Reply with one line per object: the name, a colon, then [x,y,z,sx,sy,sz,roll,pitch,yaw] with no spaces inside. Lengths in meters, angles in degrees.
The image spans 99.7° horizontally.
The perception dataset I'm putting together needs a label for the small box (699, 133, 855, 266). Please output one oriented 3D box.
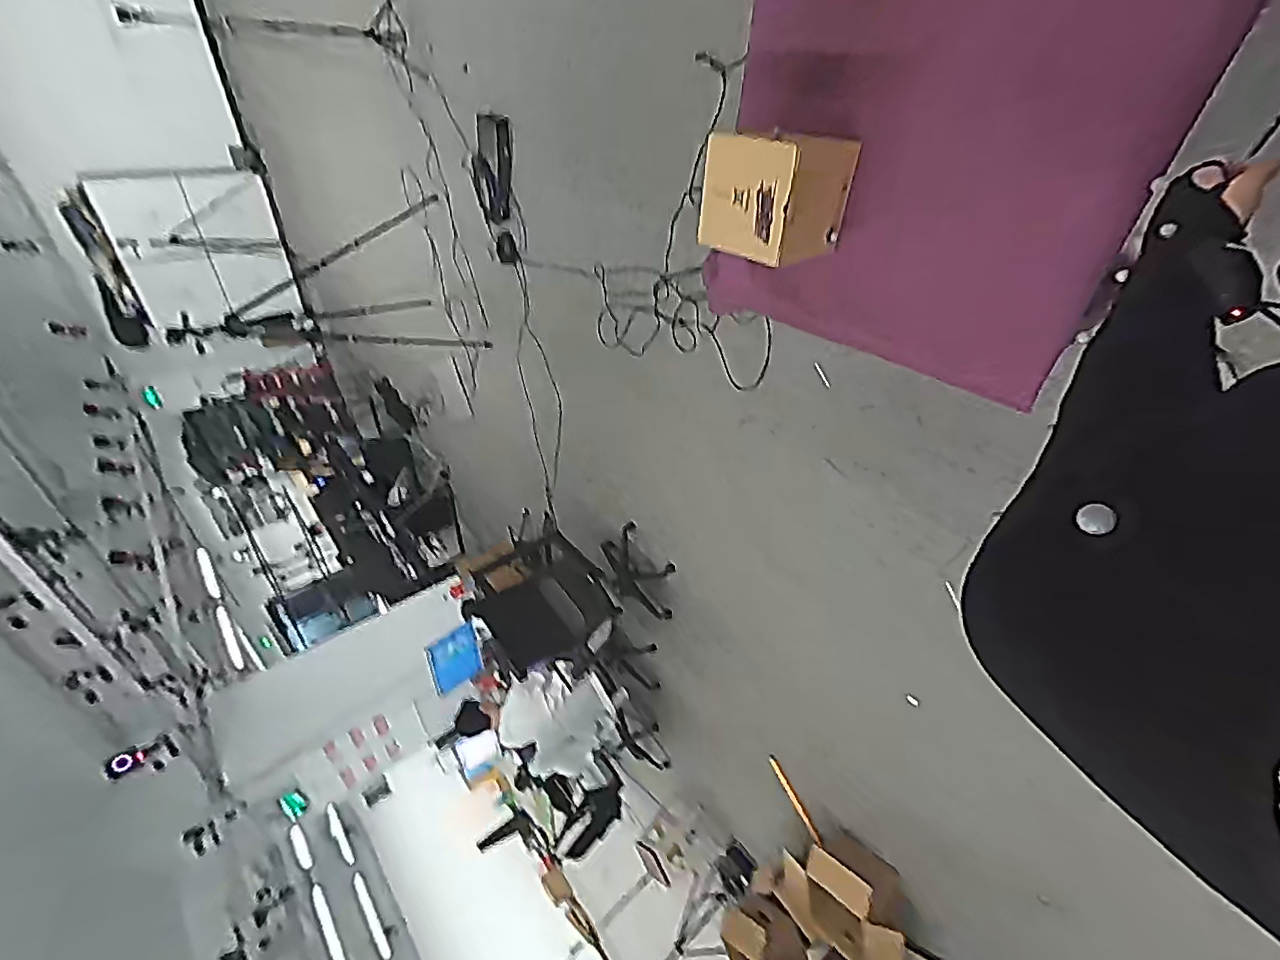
small box: [0.225,-0.473,0.900,0.179,0.176,0.168,37,137,36]
